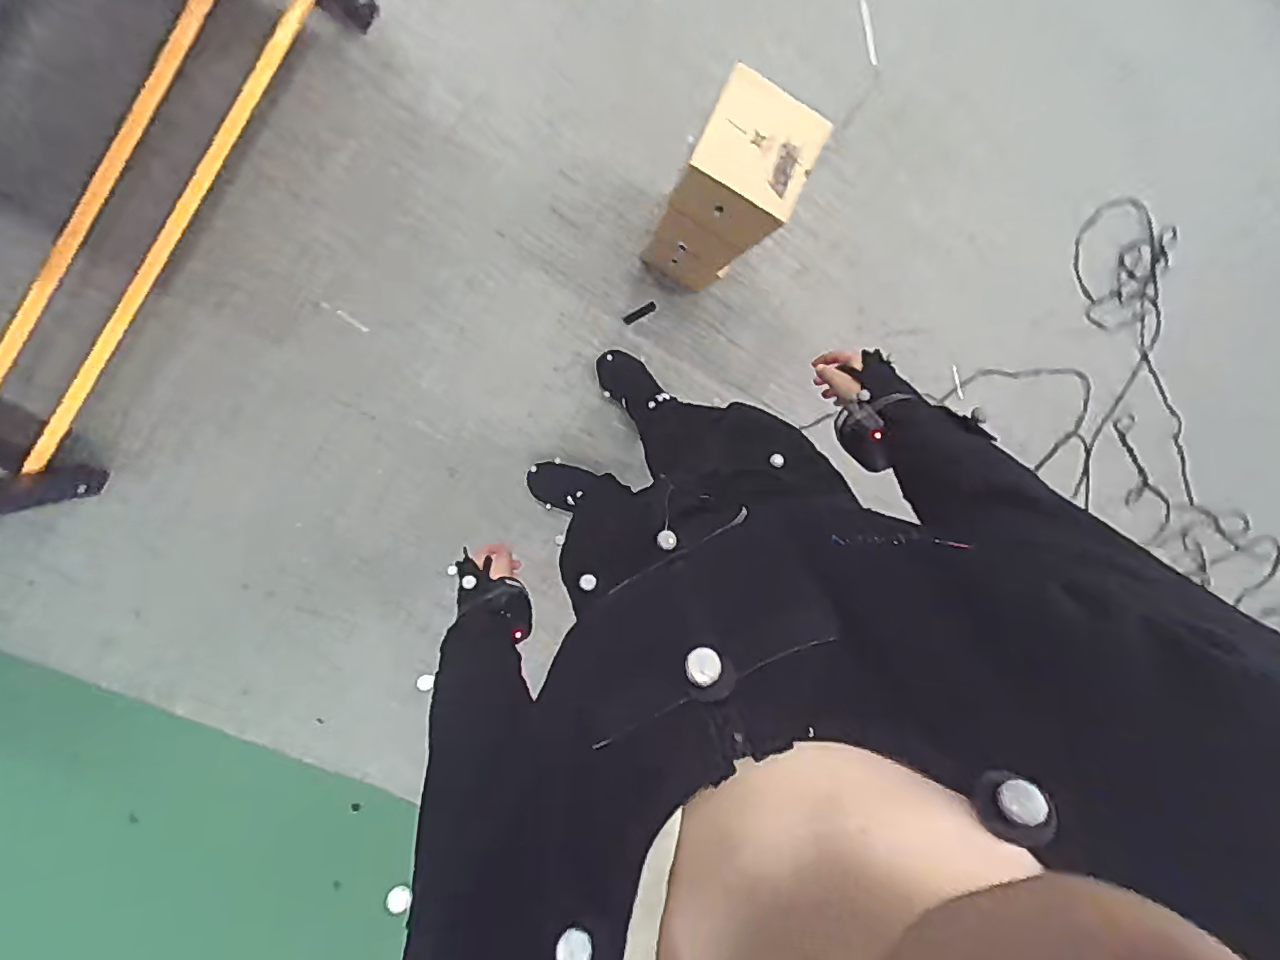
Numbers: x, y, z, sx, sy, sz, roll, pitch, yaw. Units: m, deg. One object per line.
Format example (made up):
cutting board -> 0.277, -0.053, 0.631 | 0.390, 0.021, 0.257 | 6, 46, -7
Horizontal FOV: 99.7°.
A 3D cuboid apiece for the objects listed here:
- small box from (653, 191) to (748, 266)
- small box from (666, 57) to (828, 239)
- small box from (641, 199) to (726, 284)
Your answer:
small box -> 0.140, -0.548, 1.050 | 0.168, 0.176, 0.179 | 24, 94, -12
small box -> 0.165, -0.524, 0.889 | 0.179, 0.176, 0.168 | 25, 93, -11
small box -> 0.117, -0.562, 1.211 | 0.179, 0.176, 0.168 | 24, 93, -12
